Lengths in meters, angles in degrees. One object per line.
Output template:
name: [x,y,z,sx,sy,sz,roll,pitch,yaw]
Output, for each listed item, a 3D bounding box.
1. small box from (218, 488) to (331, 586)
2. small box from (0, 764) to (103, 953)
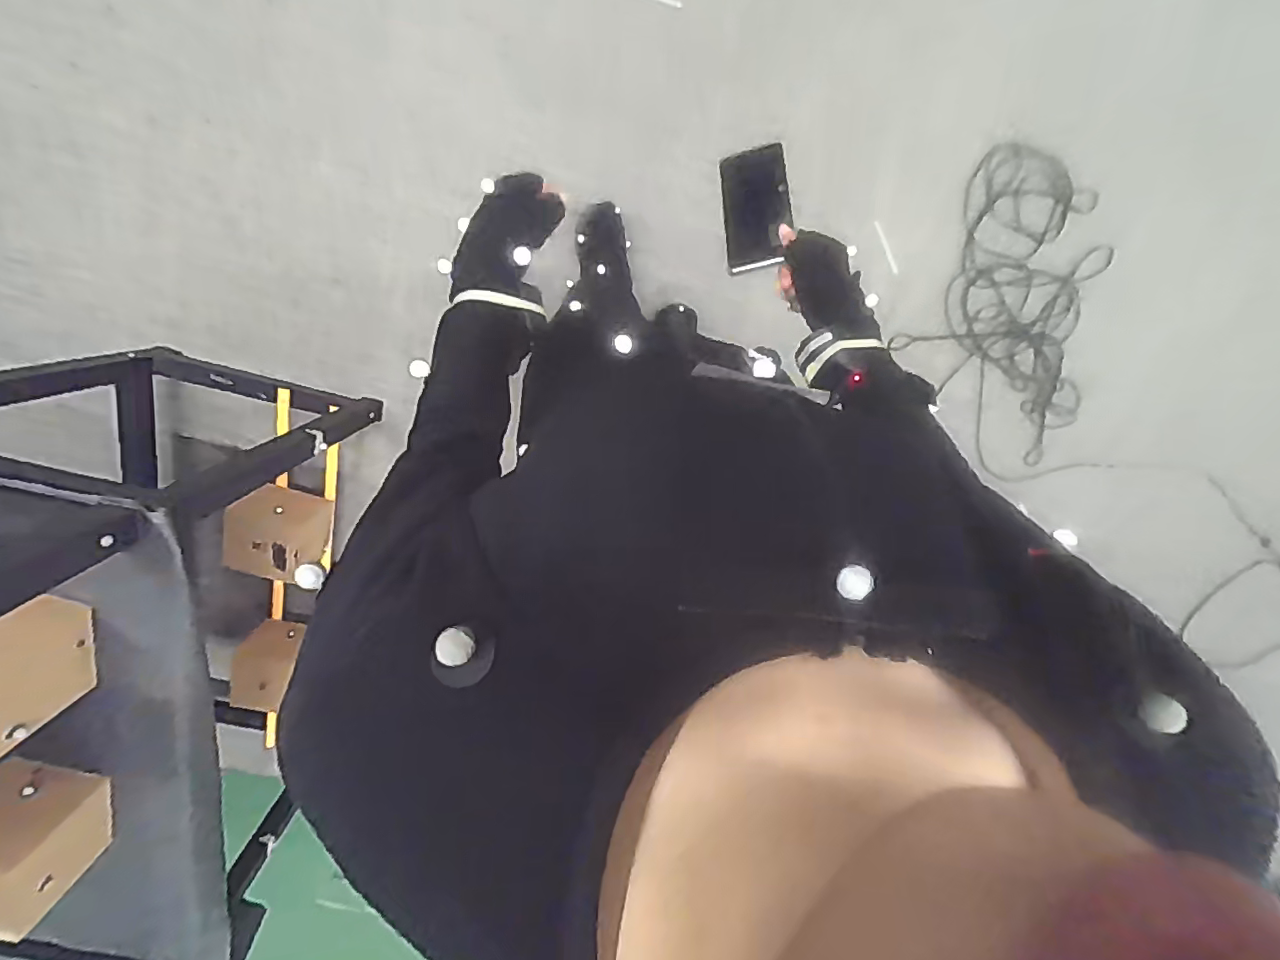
small box: [-0.916,0.138,1.368,0.179,0.176,0.168,17,109,-7]
small box: [-1.030,0.606,0.877,0.168,0.176,0.179,17,109,-7]
